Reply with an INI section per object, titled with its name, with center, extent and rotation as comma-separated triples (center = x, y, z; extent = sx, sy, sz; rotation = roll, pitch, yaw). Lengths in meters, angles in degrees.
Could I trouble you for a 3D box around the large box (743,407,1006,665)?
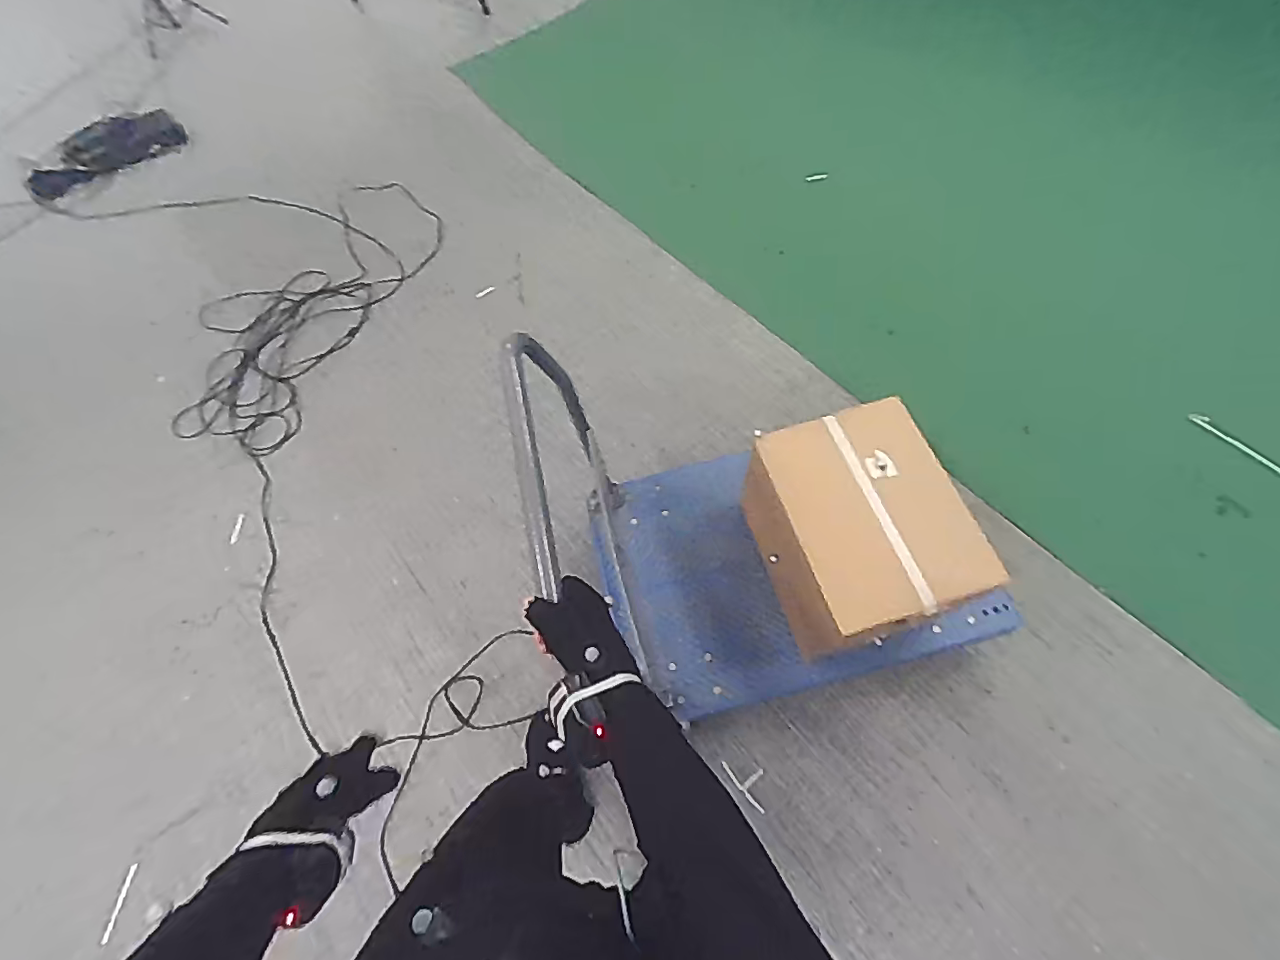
[large box]
center = 0.441, 0.126, 1.136
extent = 0.320, 0.320, 0.408
rotation = -15, 62, -5
